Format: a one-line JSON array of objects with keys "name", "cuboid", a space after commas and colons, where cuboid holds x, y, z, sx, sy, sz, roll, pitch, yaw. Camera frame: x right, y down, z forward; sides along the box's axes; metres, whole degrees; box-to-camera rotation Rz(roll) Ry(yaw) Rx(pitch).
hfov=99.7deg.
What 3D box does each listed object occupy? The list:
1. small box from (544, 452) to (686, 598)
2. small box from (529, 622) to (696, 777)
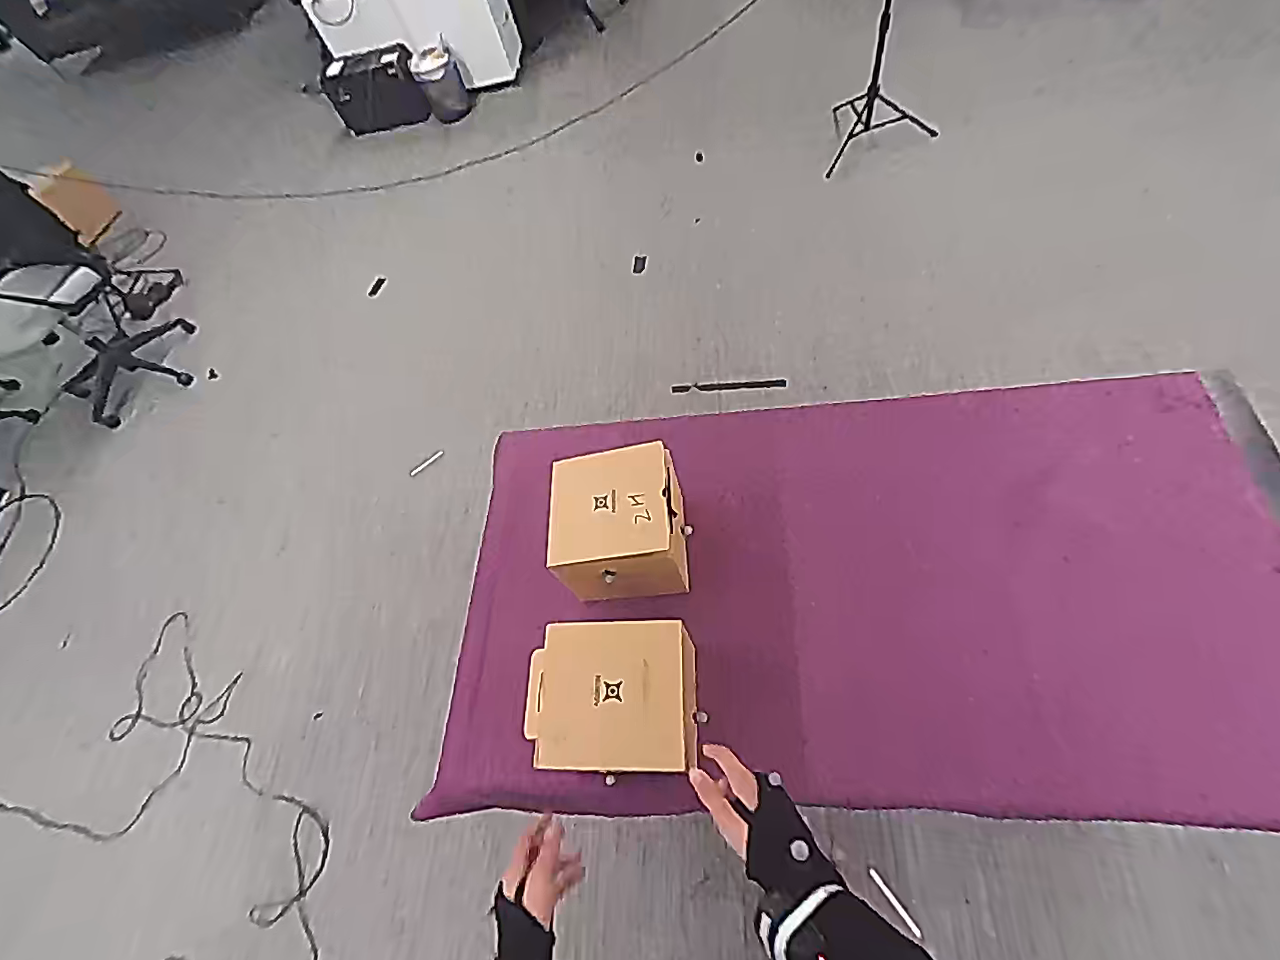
[{"name": "small box", "cuboid": [-0.029, 0.076, 0.819, 0.179, 0.176, 0.168, -5, 61, 9]}, {"name": "small box", "cuboid": [-0.024, 0.287, 0.701, 0.179, 0.176, 0.168, -3, 61, 10]}]
